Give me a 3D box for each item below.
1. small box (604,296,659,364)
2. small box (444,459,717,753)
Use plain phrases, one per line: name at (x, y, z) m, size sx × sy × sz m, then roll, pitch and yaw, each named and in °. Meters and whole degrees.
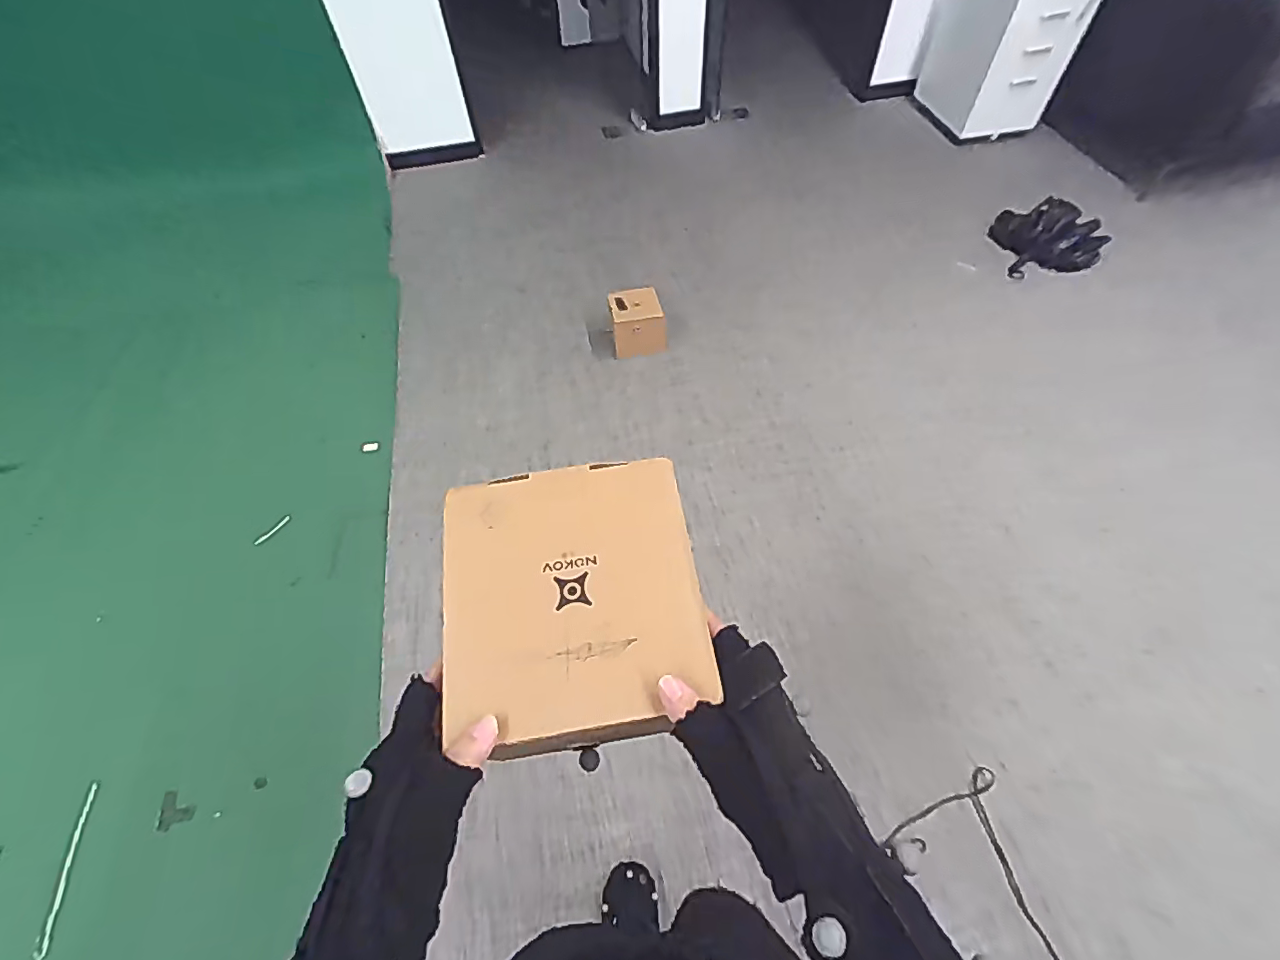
small box at (-0.029, -0.547, 1.988) m, size 0.179 × 0.176 × 0.168 m, roll -11°, pitch 57°, yaw -5°
small box at (-0.046, 0.107, 0.429) m, size 0.168 × 0.176 × 0.179 m, roll -8°, pitch 62°, yaw -4°
